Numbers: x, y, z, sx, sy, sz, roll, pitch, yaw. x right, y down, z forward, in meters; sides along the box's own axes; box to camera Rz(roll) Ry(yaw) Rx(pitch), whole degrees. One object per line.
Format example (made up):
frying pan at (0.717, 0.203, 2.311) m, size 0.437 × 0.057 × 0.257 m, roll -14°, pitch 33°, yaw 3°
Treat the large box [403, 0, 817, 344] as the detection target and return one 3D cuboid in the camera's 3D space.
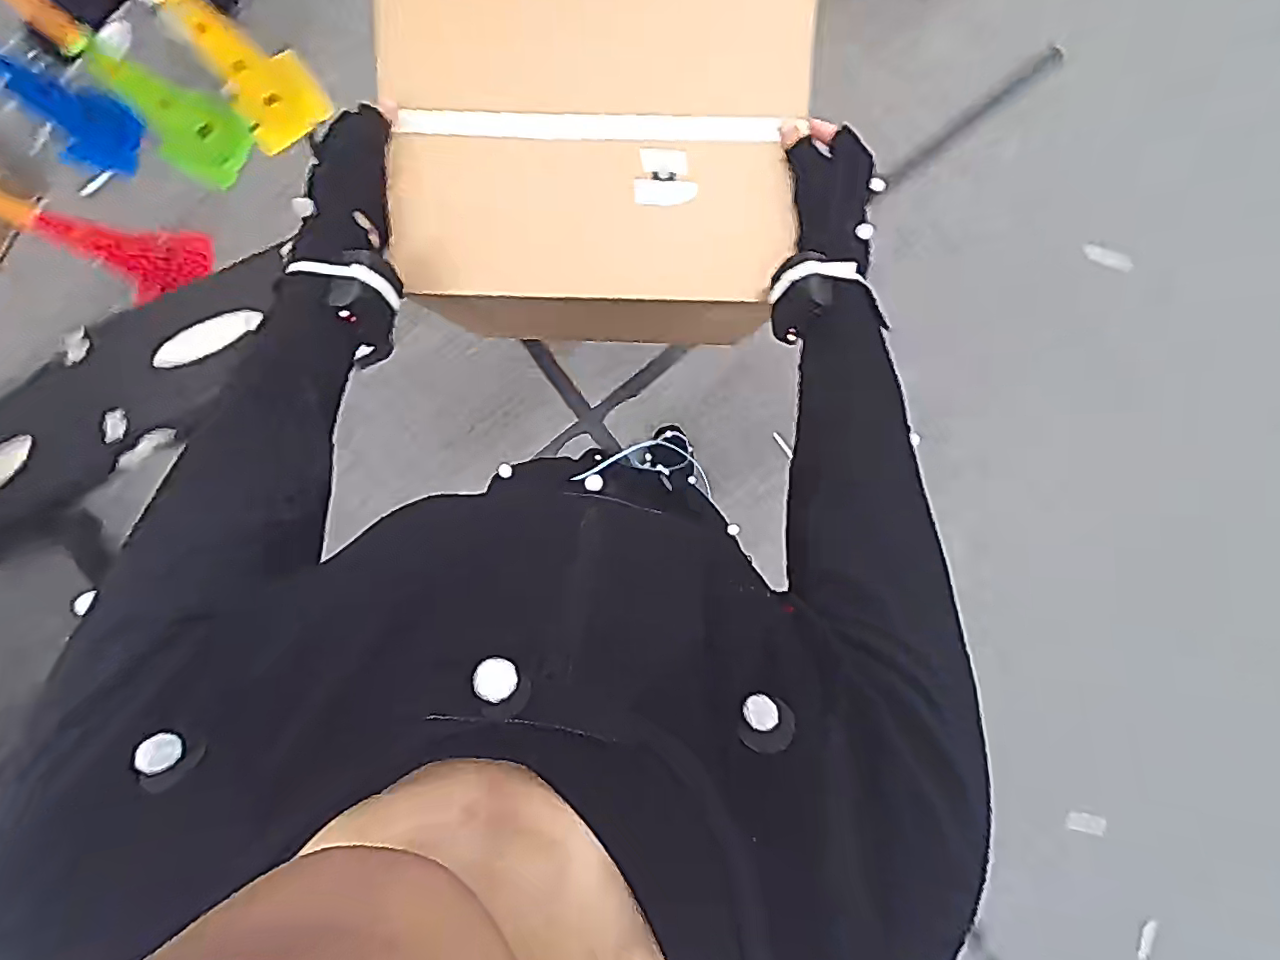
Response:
large box at (-0.036, -0.351, 0.678) m, size 0.408 × 0.320 × 0.320 m, roll 2°, pitch 97°, yaw -2°
